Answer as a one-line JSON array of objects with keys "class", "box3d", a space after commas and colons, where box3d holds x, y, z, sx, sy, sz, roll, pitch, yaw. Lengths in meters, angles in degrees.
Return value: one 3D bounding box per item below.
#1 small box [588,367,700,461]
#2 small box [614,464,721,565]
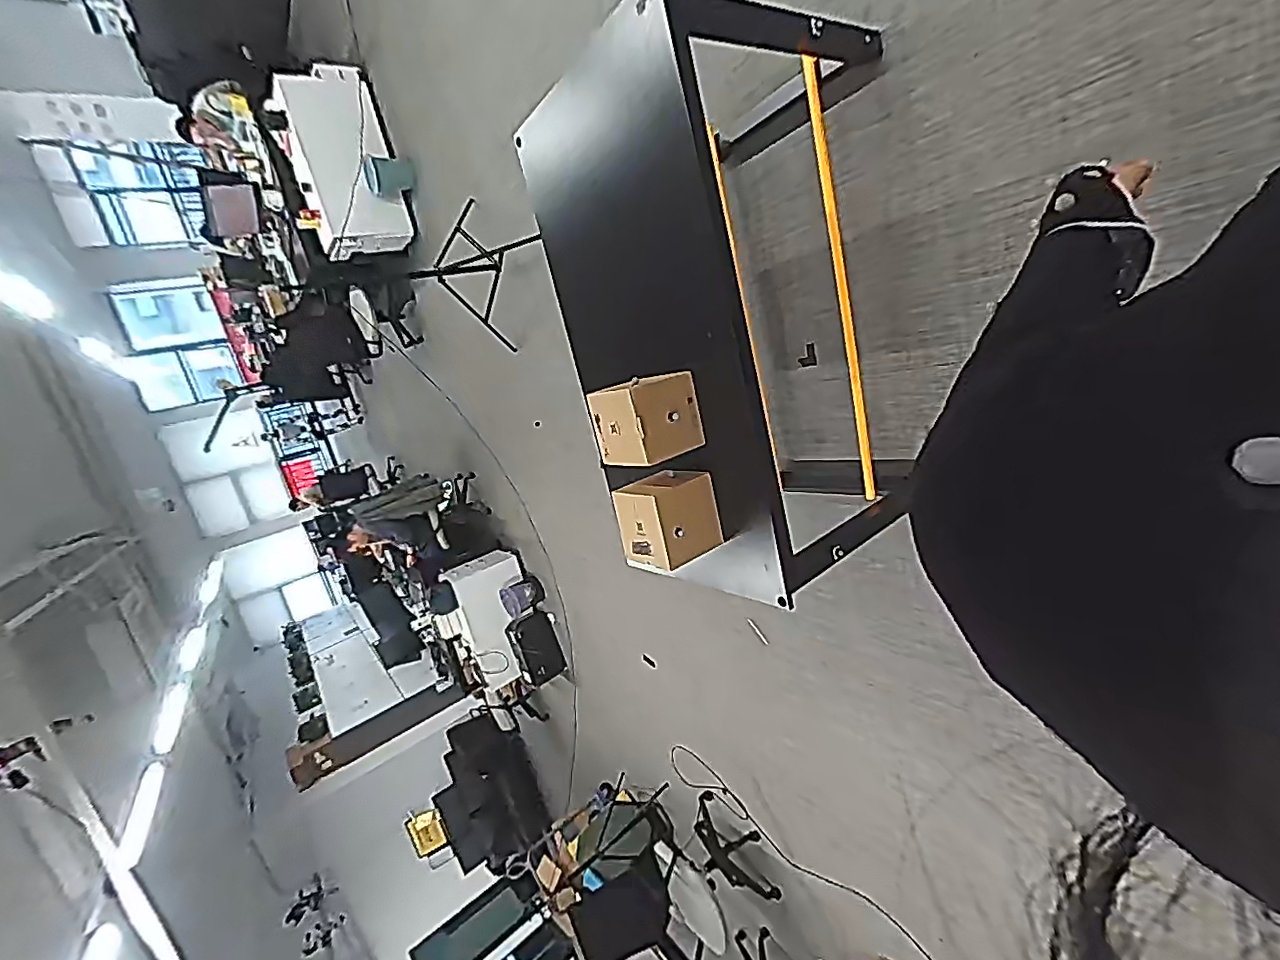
[{"class": "small box", "box3d": [0.016, -0.148, 1.197, 0.179, 0.176, 0.168, 6, 114, 53]}, {"class": "small box", "box3d": [0.068, 0.072, 1.254, 0.168, 0.176, 0.179, 4, 112, 54]}]
